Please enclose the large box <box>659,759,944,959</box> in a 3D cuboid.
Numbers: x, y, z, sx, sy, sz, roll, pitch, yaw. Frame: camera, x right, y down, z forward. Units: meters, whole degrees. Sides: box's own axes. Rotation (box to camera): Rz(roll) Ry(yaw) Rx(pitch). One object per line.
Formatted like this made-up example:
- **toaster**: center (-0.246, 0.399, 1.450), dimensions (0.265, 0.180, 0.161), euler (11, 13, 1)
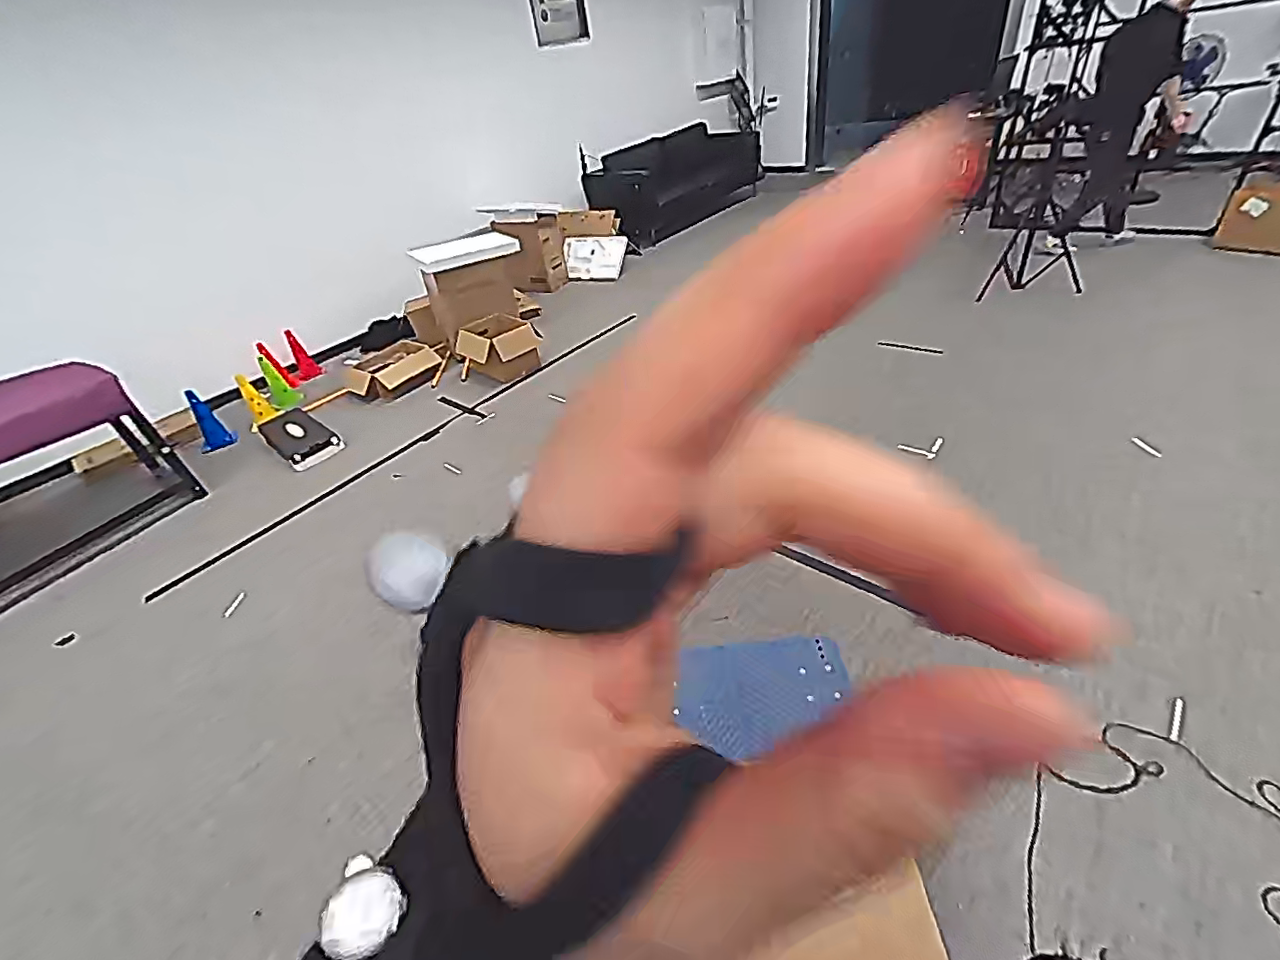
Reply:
- **large box**: center (0.254, 0.751, 0.981), dimensions (0.408, 0.320, 0.320), euler (-6, 38, 3)
